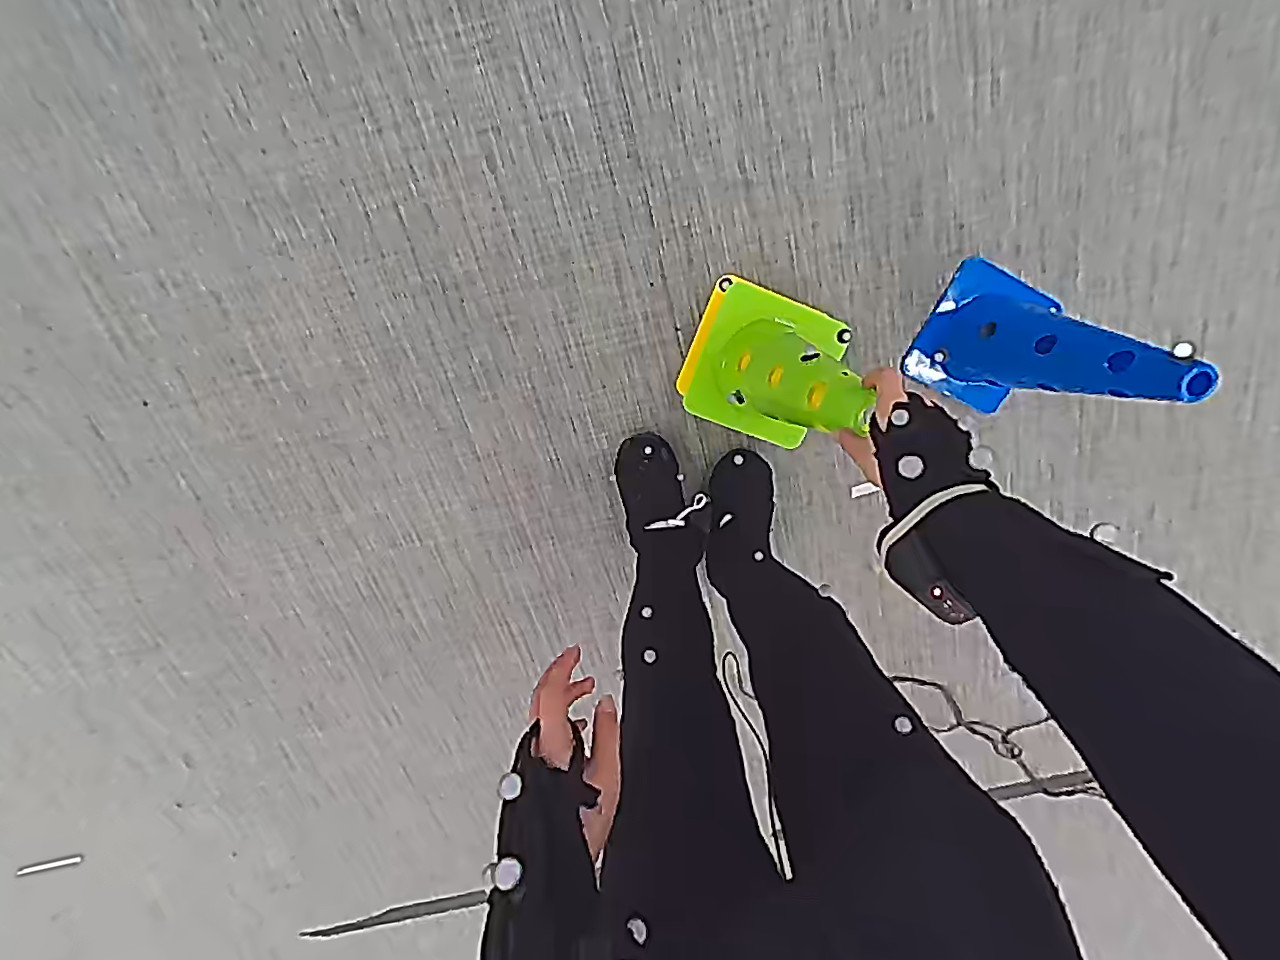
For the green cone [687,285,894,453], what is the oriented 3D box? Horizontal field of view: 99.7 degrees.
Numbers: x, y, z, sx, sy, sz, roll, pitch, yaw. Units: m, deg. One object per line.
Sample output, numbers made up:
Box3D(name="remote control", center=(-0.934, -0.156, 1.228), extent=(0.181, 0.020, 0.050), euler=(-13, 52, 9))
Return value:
Box3D(name="green cone", center=(0.195, -0.105, 0.637), extent=(0.200, 0.368, 0.202), euler=(18, 107, -8))
